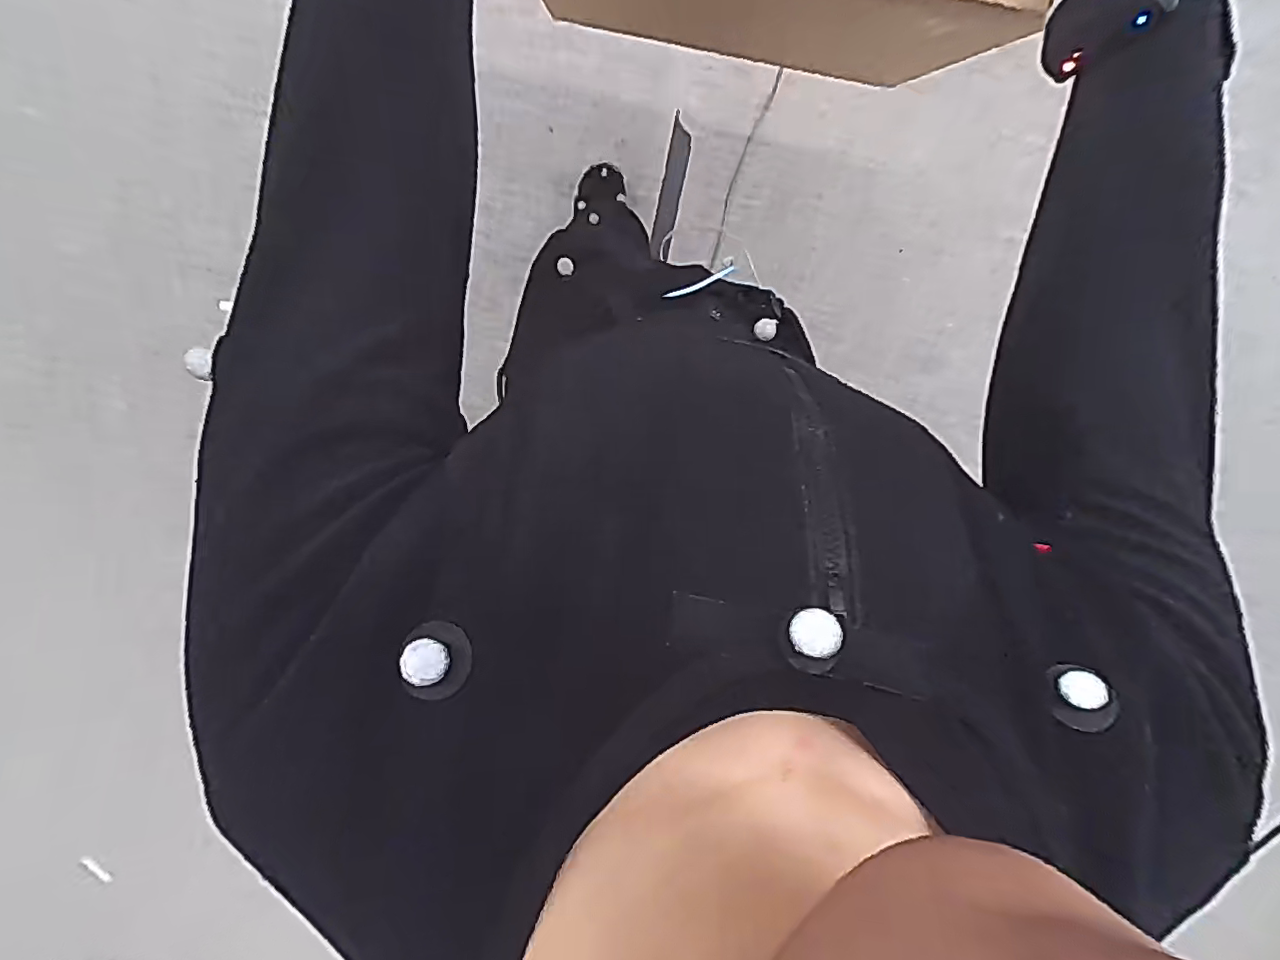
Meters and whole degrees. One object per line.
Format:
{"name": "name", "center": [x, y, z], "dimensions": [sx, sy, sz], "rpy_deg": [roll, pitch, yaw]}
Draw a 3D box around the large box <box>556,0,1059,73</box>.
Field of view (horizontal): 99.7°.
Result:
{"name": "large box", "center": [0.123, -0.561, 0.419], "dimensions": [0.408, 0.320, 0.320], "rpy_deg": [8, 120, -4]}
